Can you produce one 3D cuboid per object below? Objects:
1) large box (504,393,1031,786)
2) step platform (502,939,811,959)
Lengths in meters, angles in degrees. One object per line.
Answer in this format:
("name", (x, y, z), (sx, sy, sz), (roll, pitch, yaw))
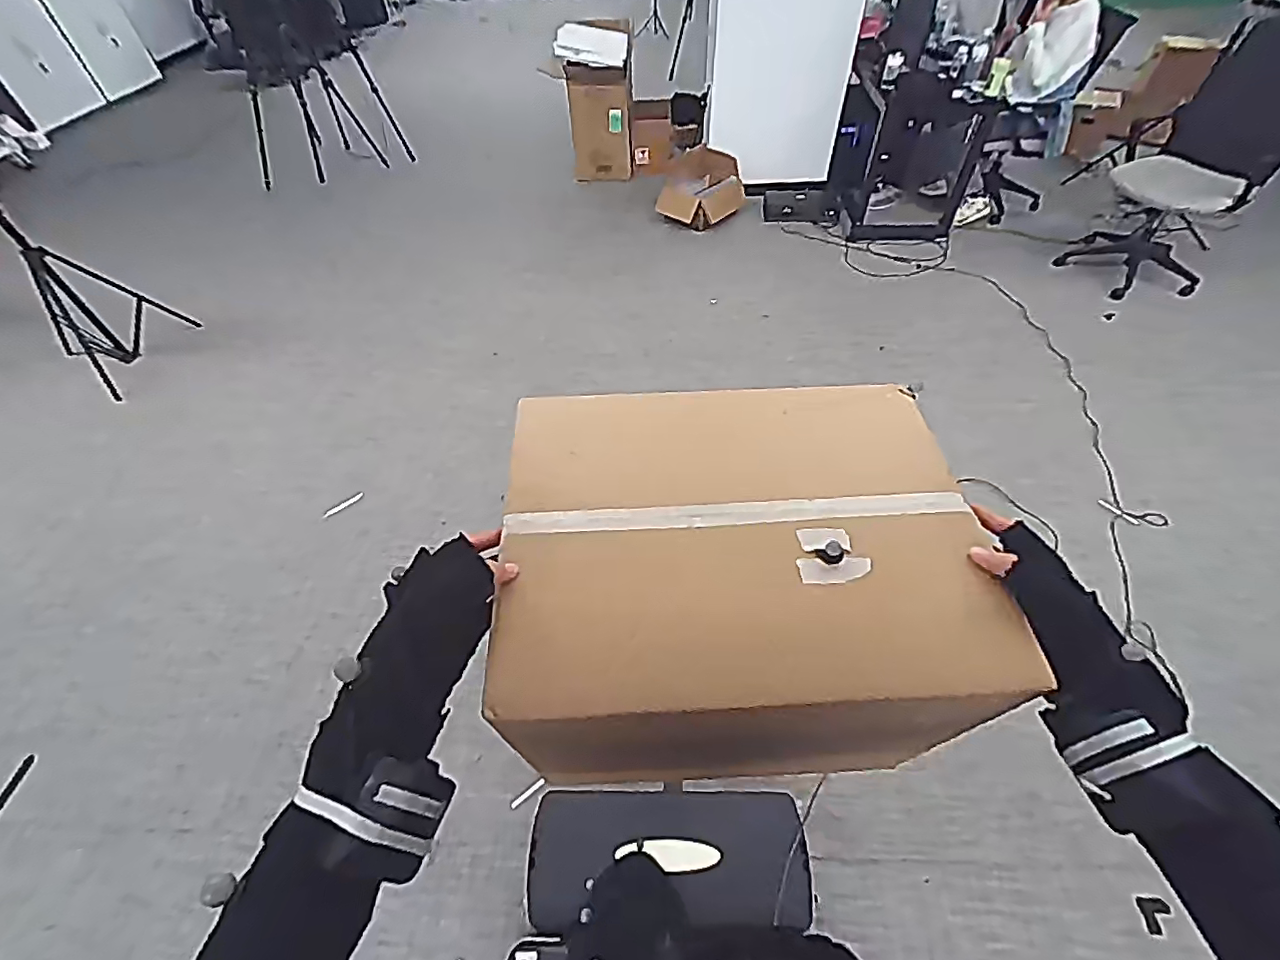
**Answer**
("large box", (0.085, 0.129, 0.602), (0.408, 0.320, 0.320), (-3, 53, -2))
("step platform", (0.035, 1.121, 1.097), (0.684, 0.204, 0.286), (-2, 50, 3))
